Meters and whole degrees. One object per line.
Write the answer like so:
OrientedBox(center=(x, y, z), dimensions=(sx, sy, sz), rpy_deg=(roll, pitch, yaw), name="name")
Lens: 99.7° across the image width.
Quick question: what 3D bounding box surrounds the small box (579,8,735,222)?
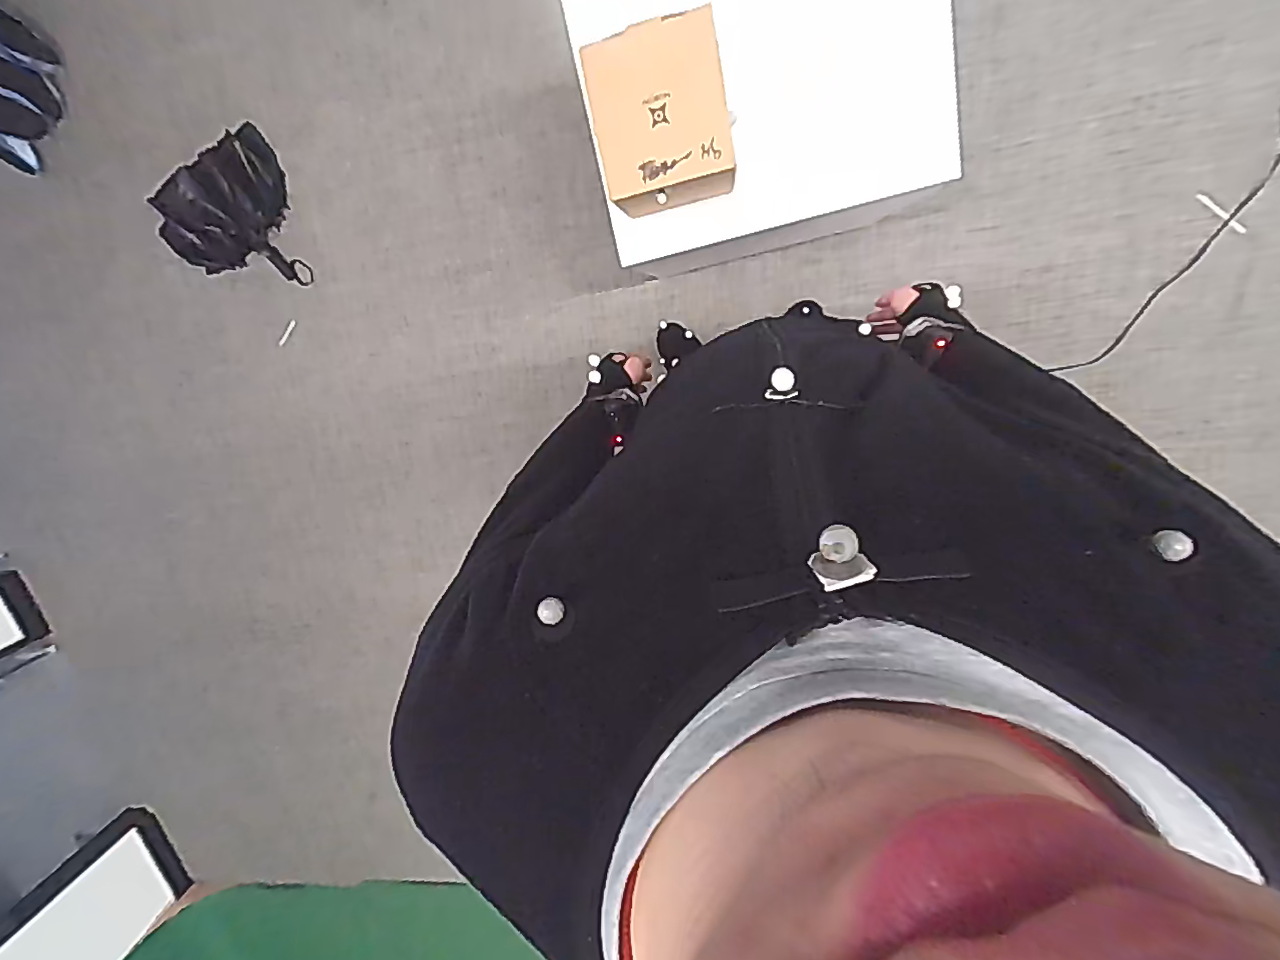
OrientedBox(center=(0.031, -0.475, 0.736), dimensions=(0.168, 0.176, 0.179), rpy_deg=(-10, 105, 11), name="small box")
